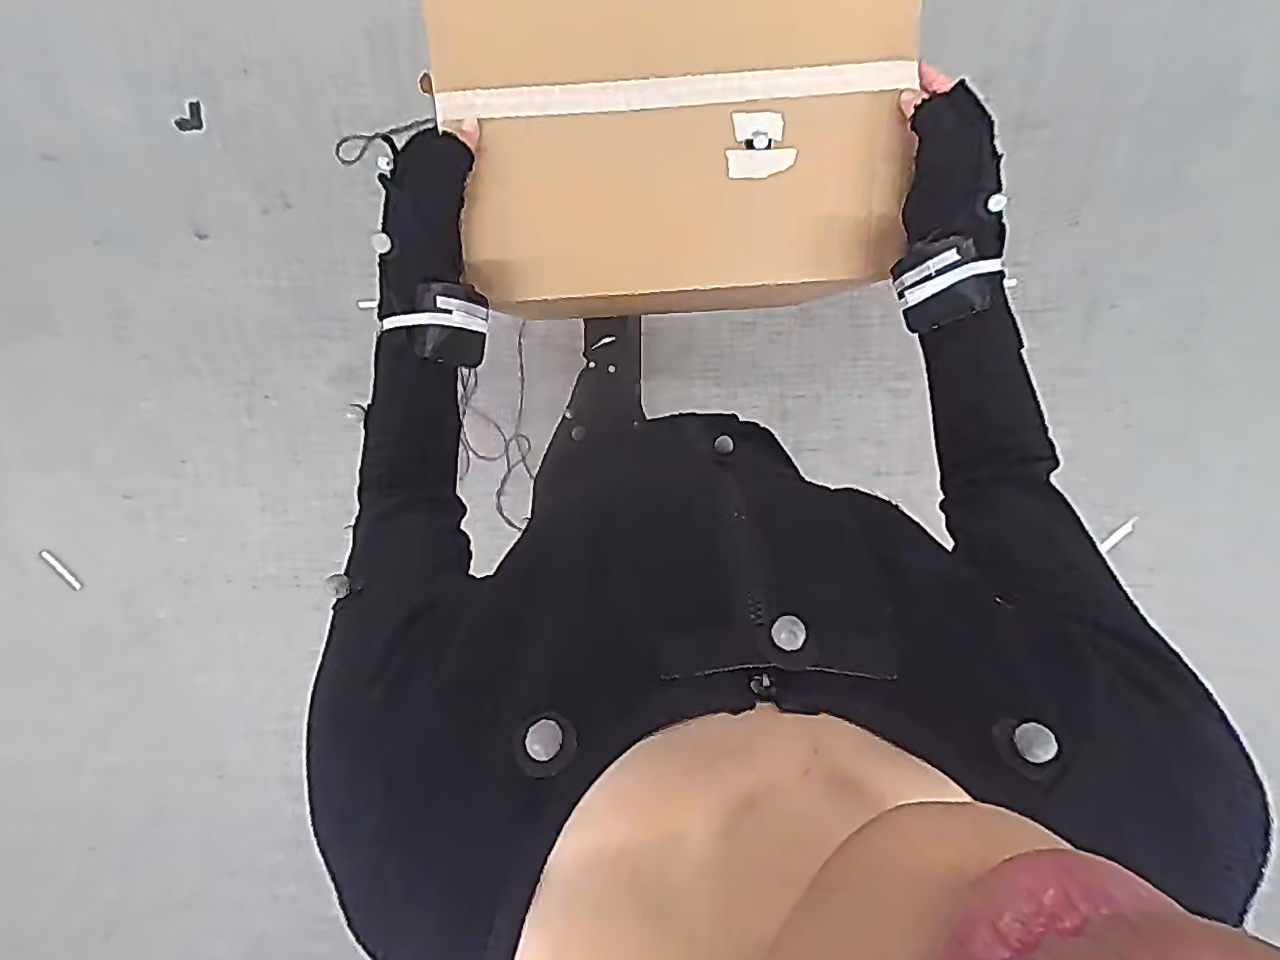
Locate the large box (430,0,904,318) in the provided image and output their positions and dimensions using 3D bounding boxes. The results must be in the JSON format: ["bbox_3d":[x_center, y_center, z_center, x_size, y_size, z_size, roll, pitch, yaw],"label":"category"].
[{"bbox_3d":[0.024,-0.369,0.614,0.408,0.320,0.320,-4,104,-1],"label":"large box"}]
